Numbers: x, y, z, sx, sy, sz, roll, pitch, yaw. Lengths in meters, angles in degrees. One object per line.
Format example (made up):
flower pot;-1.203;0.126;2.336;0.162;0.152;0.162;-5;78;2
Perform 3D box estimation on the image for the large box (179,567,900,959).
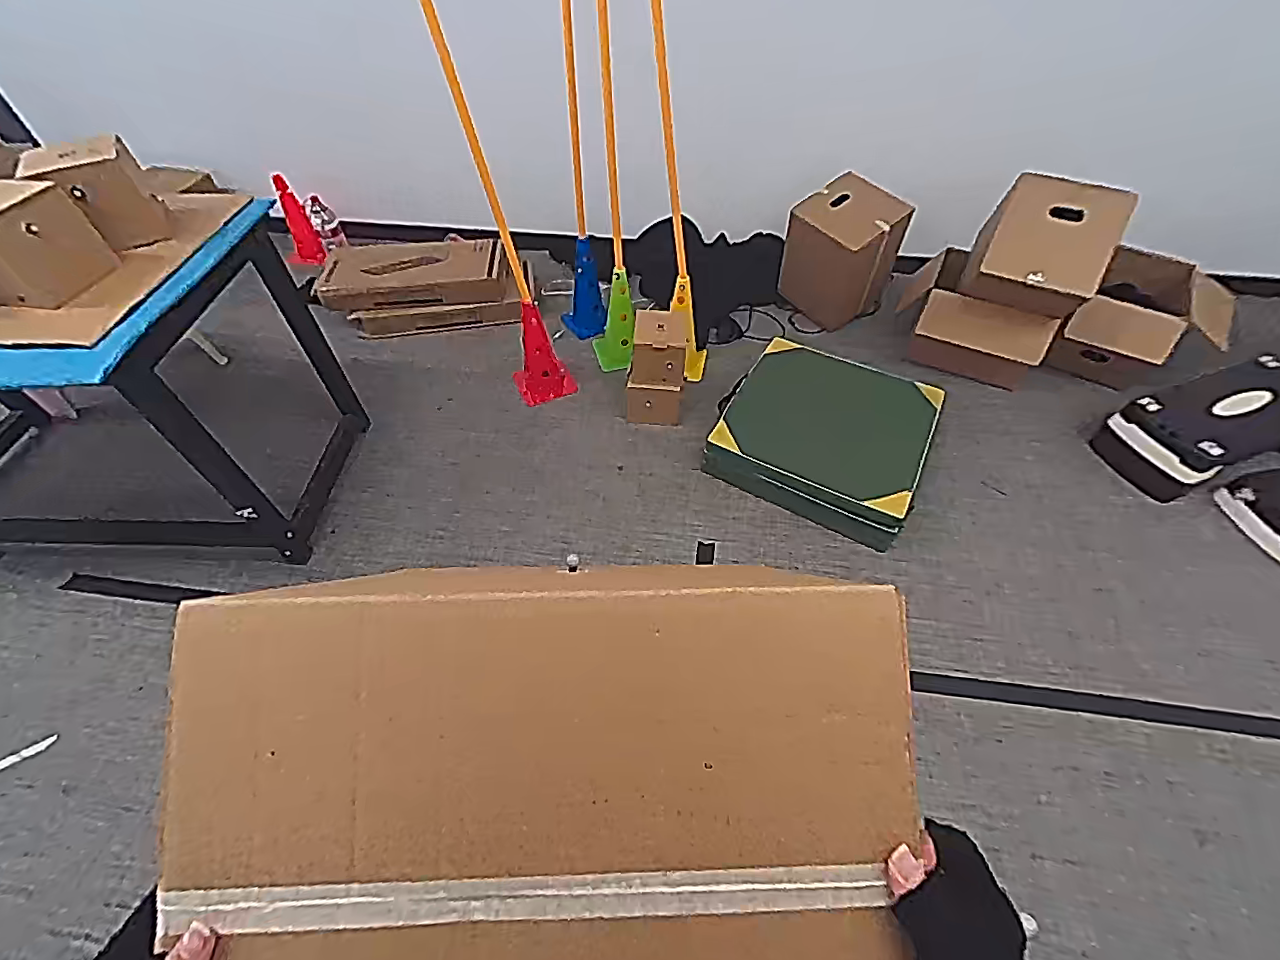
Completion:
large box;-0.054;0.244;0.451;0.408;0.320;0.320;-1;84;-1
